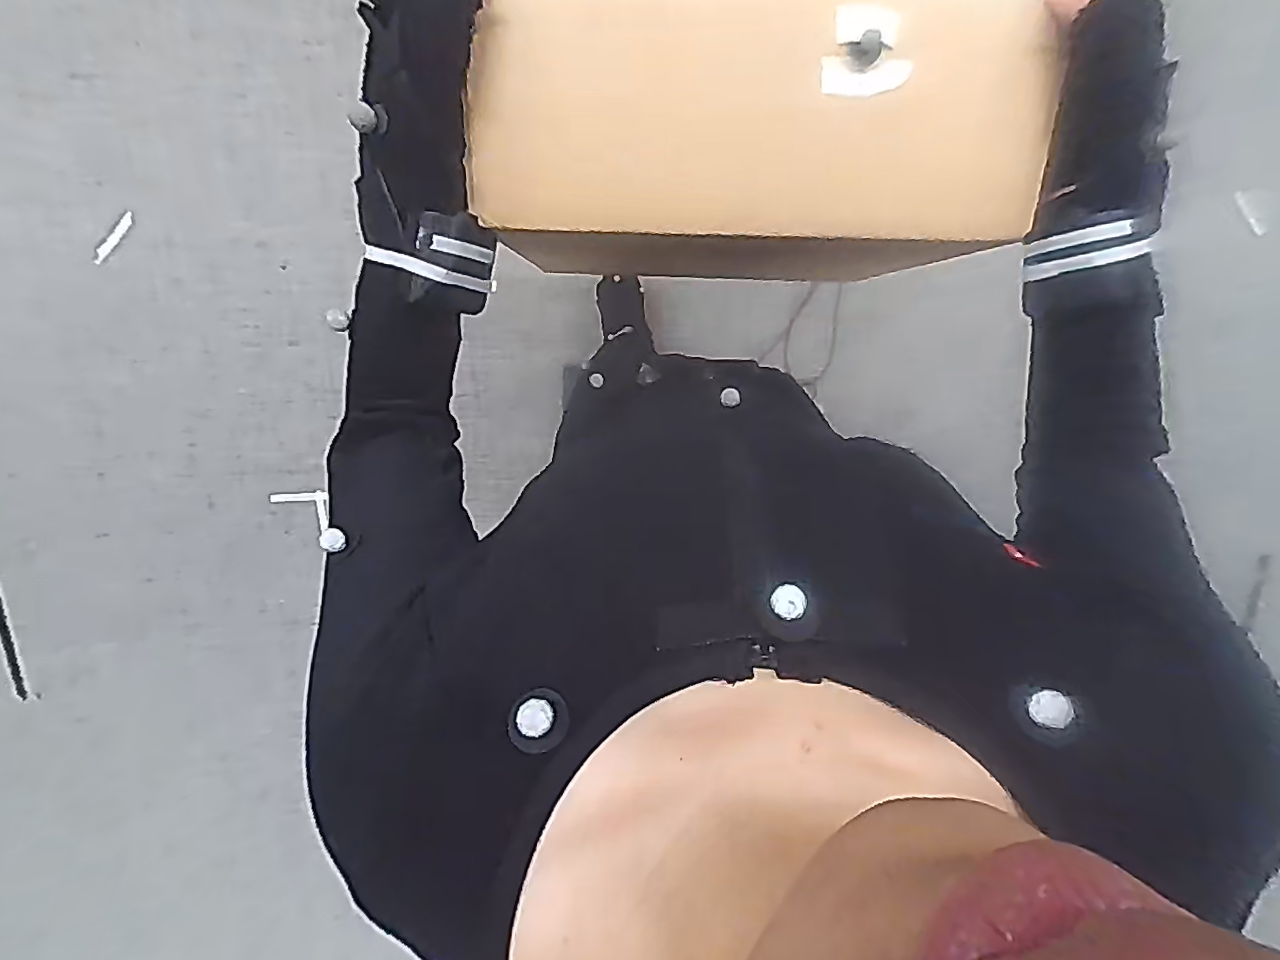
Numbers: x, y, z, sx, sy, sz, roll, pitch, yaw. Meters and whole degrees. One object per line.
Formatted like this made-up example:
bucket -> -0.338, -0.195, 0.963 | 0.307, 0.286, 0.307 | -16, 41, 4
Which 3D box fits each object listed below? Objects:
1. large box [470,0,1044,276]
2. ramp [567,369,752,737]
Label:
large box -> 0.077, -0.376, 0.513 | 0.408, 0.320, 0.320 | 1, 105, -1
ramp -> 0.051, 0.200, 1.475 | 0.509, 0.206, 0.991 | -2, 101, 2
